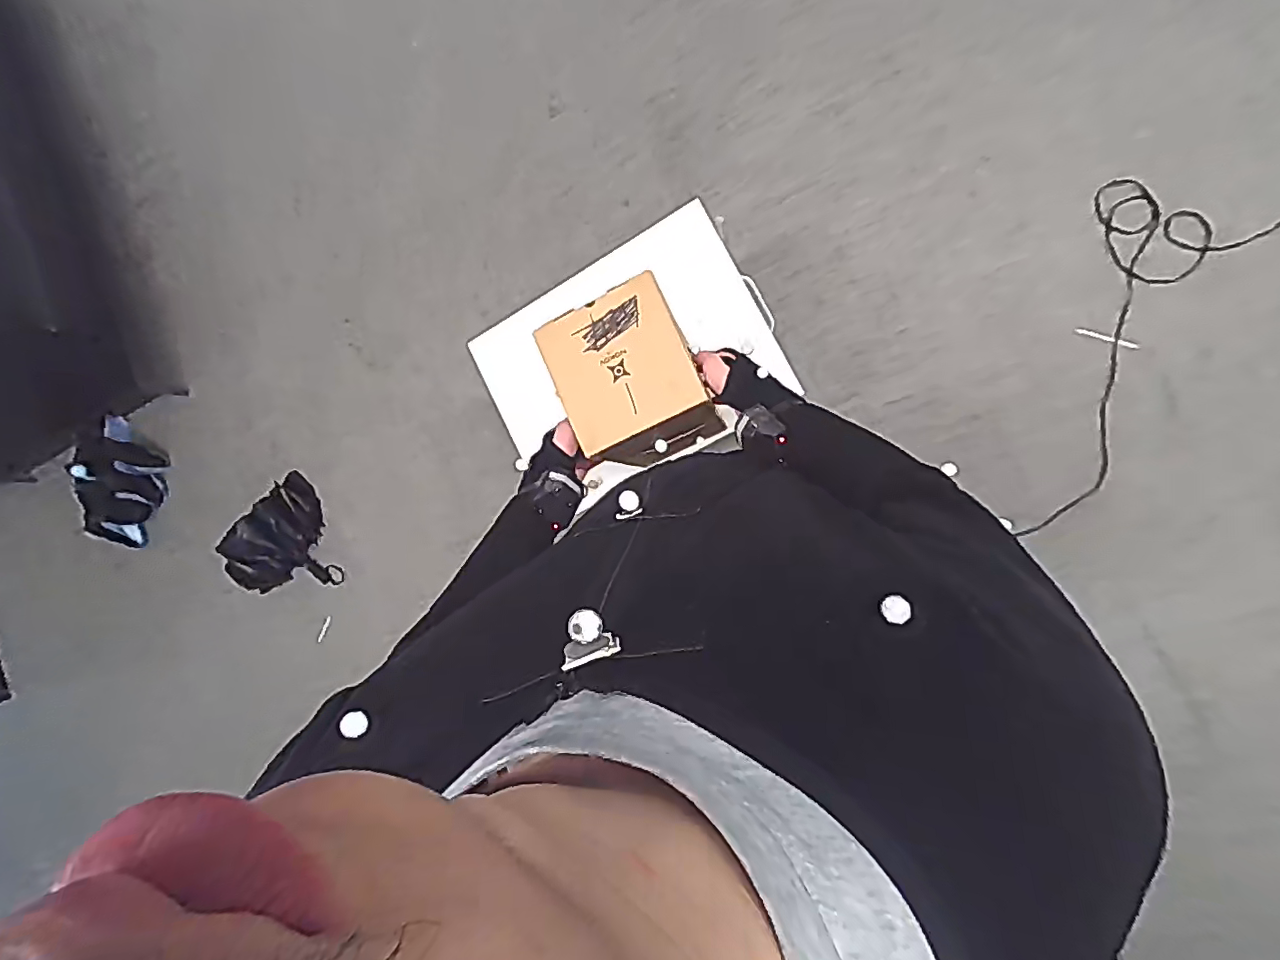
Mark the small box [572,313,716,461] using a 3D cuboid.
[{"bbox_3d":[0.017,-0.140,0.890,0.168,0.176,0.179,-25,83,10],"label":"small box"}]
